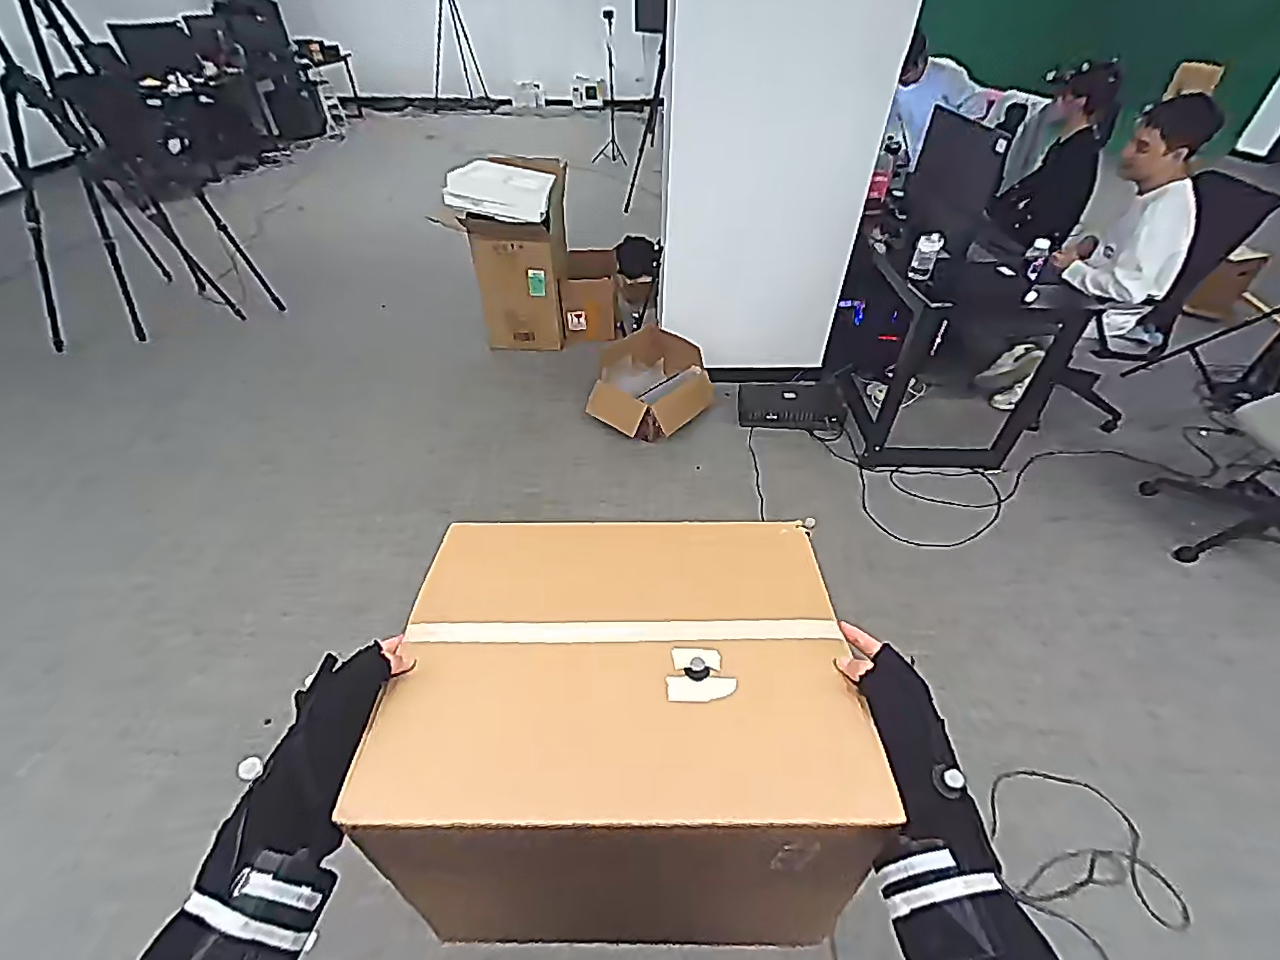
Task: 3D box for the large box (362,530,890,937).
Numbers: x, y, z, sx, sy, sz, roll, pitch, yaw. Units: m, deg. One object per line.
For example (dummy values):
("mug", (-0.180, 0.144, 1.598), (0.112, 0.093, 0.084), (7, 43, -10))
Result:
("large box", (-0.011, 0.271, 0.606), (0.408, 0.320, 0.320), (0, 37, 1))
